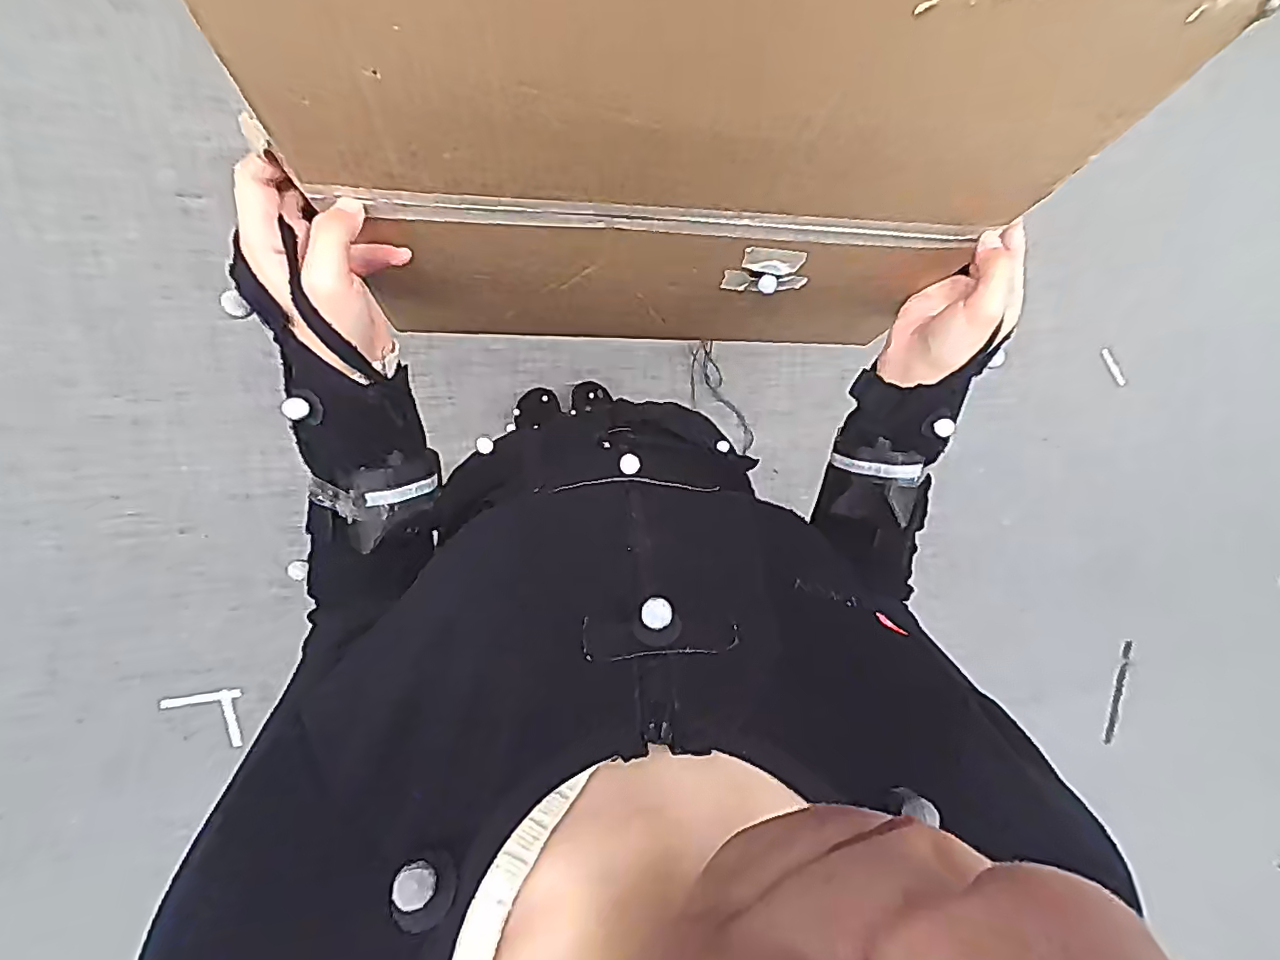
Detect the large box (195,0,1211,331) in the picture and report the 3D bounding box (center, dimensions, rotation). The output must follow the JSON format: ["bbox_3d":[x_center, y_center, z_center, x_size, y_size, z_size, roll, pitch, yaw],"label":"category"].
[{"bbox_3d":[0.009,-0.307,0.348,0.408,0.320,0.320,-2,79,-8],"label":"large box"}]
